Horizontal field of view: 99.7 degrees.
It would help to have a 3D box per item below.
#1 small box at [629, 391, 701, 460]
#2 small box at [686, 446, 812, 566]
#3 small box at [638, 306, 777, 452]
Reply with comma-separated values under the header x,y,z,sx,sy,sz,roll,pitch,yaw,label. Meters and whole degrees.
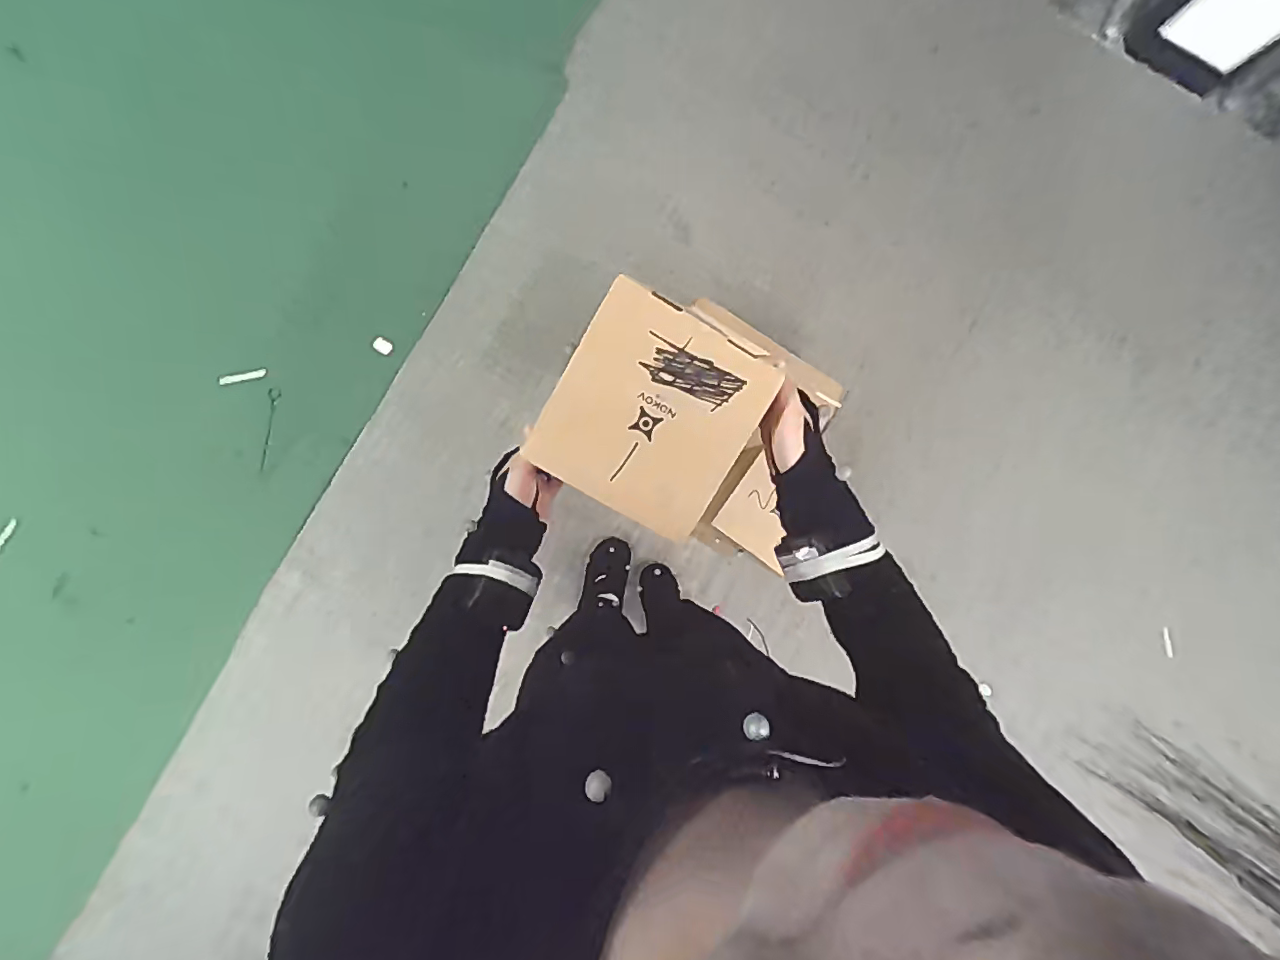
x,y,z,sx,sy,sz,roll,pitch,yaw,label
0.089,-0.157,1.117,0.168,0.176,0.179,33,85,-2,small box
0.213,0.054,1.112,0.168,0.176,0.179,35,85,-2,small box
0.106,-0.166,0.954,0.168,0.176,0.179,33,87,-2,small box
